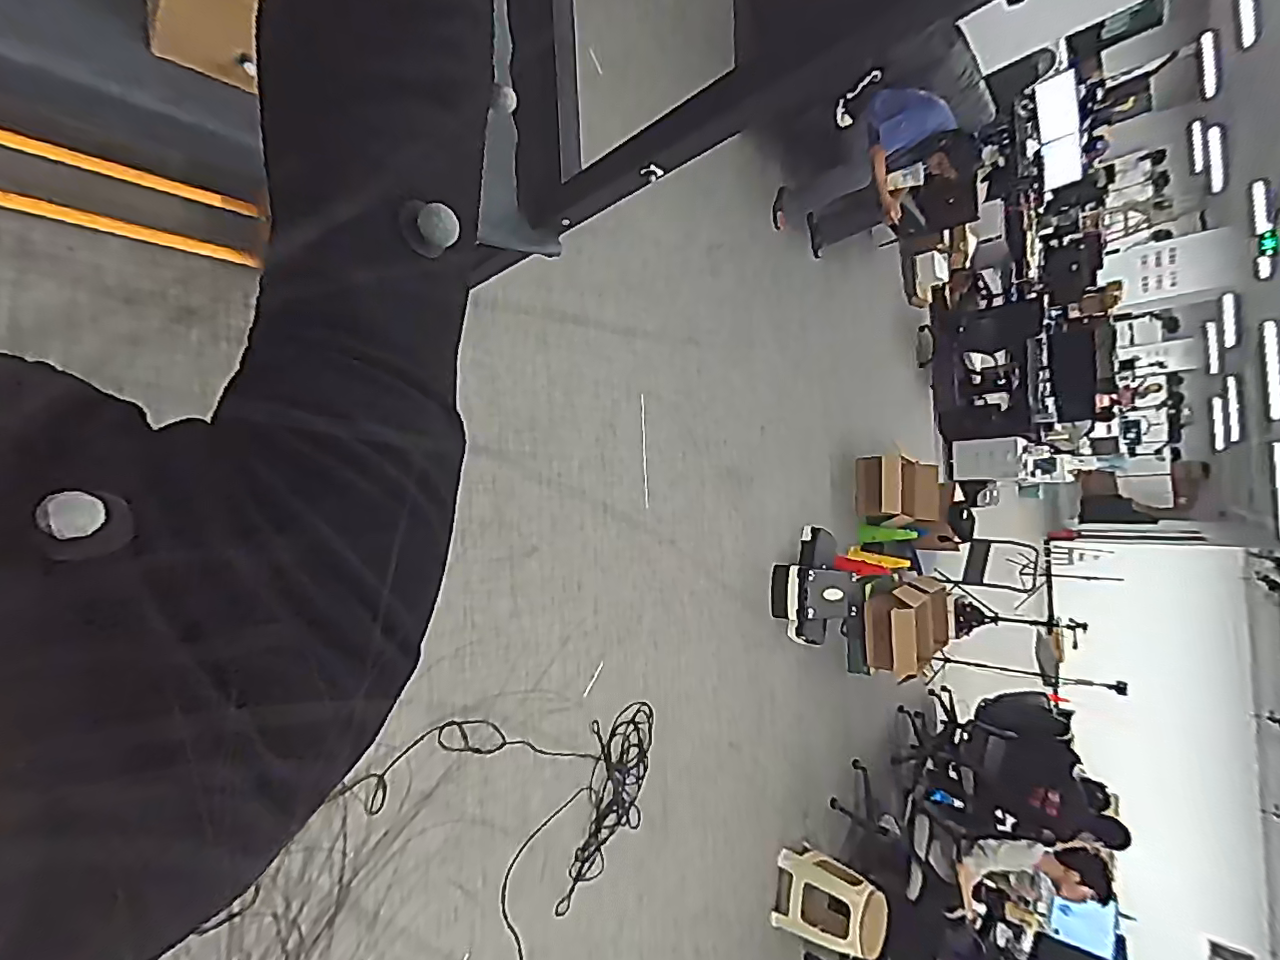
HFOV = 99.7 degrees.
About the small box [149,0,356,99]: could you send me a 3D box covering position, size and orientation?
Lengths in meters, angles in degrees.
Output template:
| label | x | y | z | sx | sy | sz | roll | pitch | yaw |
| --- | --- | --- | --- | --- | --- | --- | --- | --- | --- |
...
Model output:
| label | x | y | z | sx | sy | sz | roll | pitch | yaw |
| --- | --- | --- | --- | --- | --- | --- | --- | --- | --- |
| small box | -0.444 | -0.593 | 0.614 | 0.168 | 0.176 | 0.179 | -4 | 90 | -46 |
